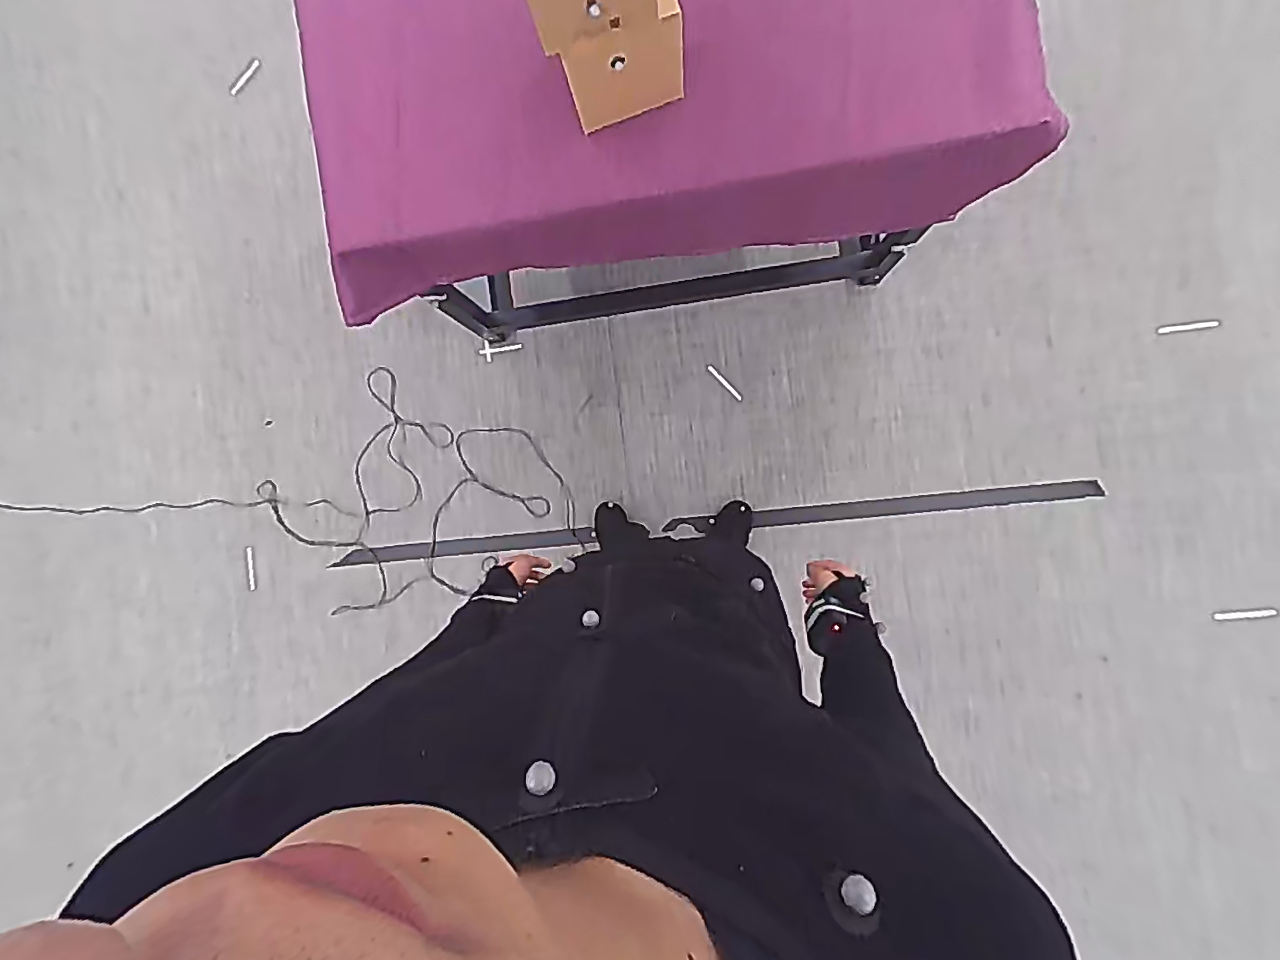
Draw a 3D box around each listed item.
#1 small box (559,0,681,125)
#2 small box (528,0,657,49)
[{"bbox_3d":[-0.041,-0.692,0.828,0.179,0.176,0.168,-18,88,5],"label":"small box"},{"bbox_3d":[-0.079,-0.696,0.667,0.168,0.176,0.179,-12,89,6],"label":"small box"}]
